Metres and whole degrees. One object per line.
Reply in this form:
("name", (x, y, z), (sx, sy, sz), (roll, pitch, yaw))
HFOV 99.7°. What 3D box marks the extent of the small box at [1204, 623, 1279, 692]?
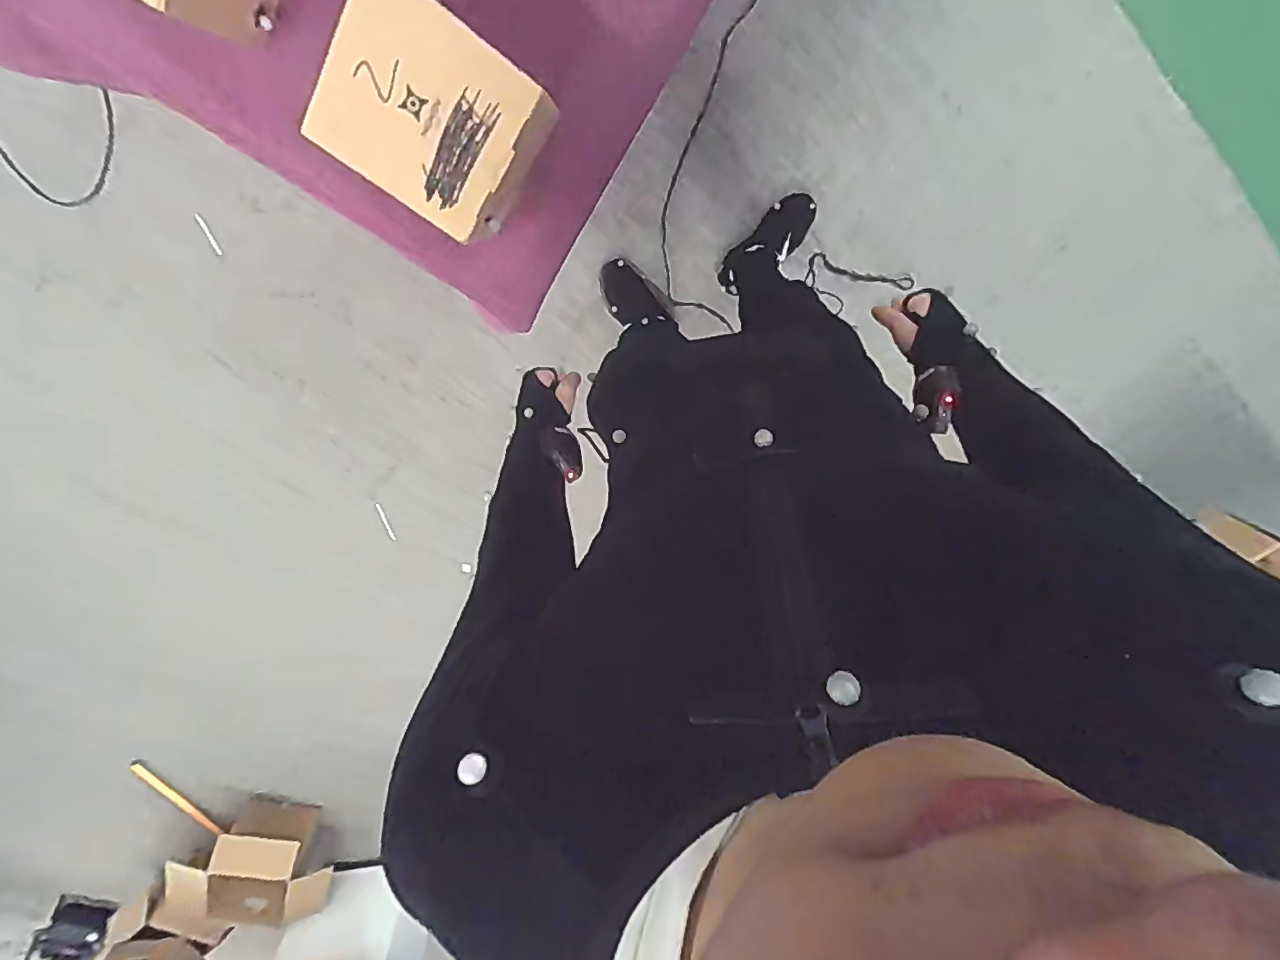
("small box", (1.760, 0.453, 1.508), (0.179, 0.176, 0.168), (34, 112, -18))
